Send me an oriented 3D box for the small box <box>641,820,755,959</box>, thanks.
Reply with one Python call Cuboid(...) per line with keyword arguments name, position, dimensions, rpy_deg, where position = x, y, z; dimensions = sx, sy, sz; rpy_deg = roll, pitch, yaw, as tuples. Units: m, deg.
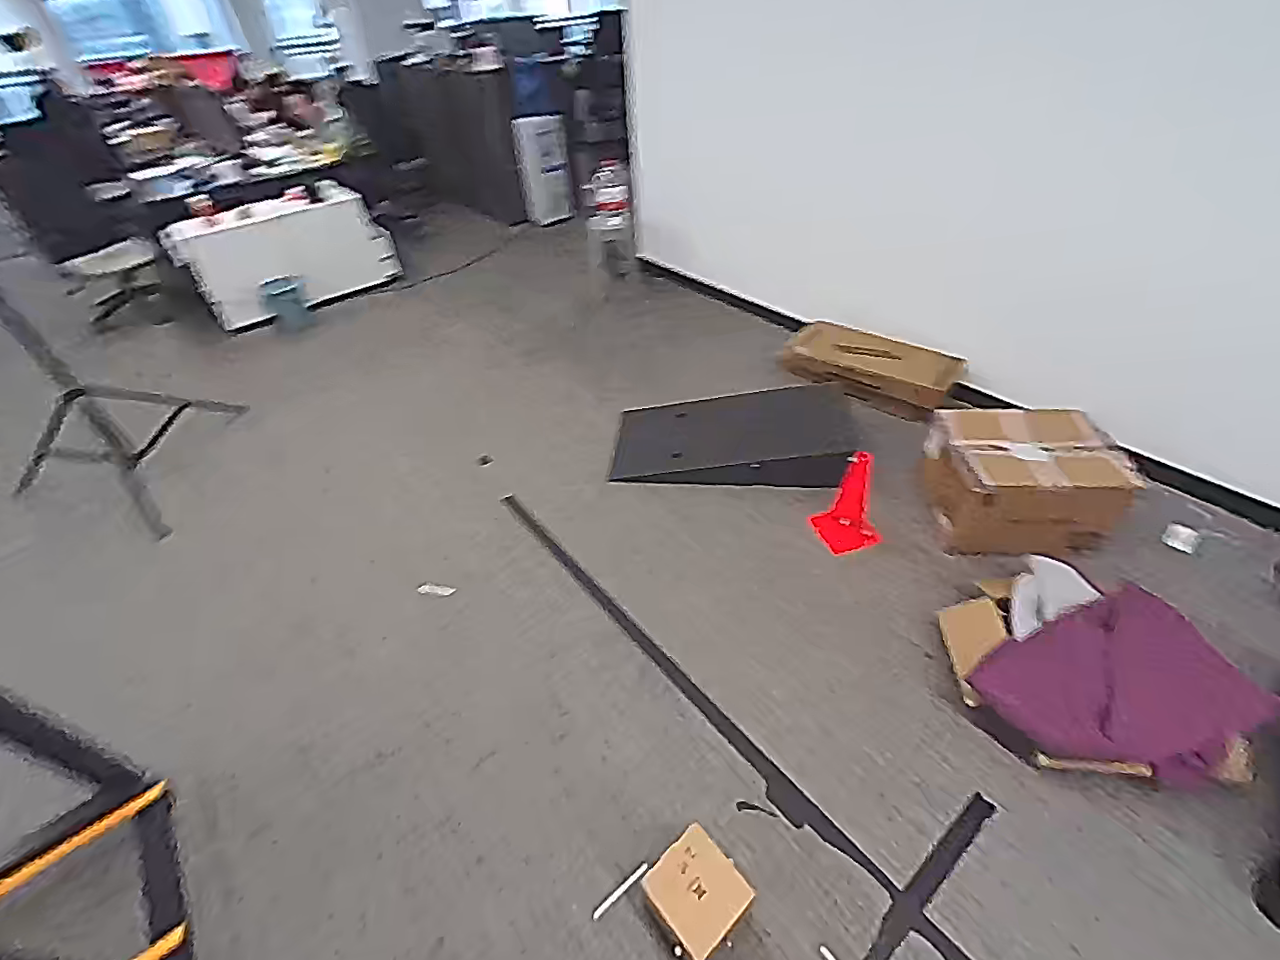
Cuboid(name="small box", position=(0.122, 0.879, 1.152), dimensions=(0.168, 0.176, 0.179), rpy_deg=(-31, 48, -27))
